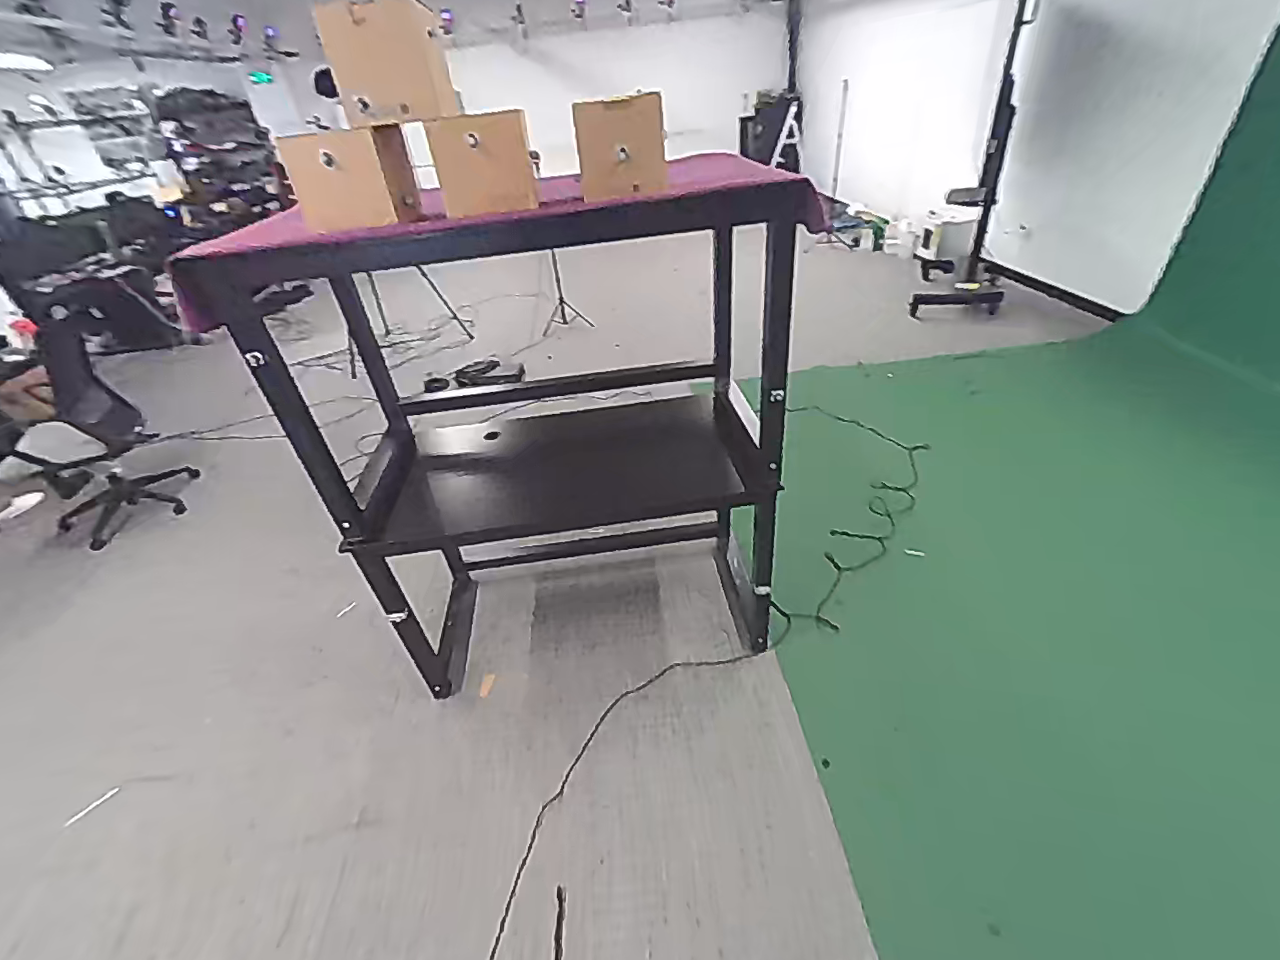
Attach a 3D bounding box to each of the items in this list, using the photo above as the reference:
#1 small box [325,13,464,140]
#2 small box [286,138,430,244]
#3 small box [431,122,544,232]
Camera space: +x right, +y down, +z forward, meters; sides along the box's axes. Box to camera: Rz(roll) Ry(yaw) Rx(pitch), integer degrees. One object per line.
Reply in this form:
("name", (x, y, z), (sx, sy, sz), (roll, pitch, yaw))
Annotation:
("small box", (-0.440, -0.737, 1.004), (0.168, 0.176, 0.179), (-7, 33, -2))
("small box", (-0.549, -0.578, 1.082), (0.179, 0.176, 0.168), (-5, 34, 1))
("small box", (-0.294, -0.611, 1.089), (0.179, 0.176, 0.168), (-9, 34, -2))
